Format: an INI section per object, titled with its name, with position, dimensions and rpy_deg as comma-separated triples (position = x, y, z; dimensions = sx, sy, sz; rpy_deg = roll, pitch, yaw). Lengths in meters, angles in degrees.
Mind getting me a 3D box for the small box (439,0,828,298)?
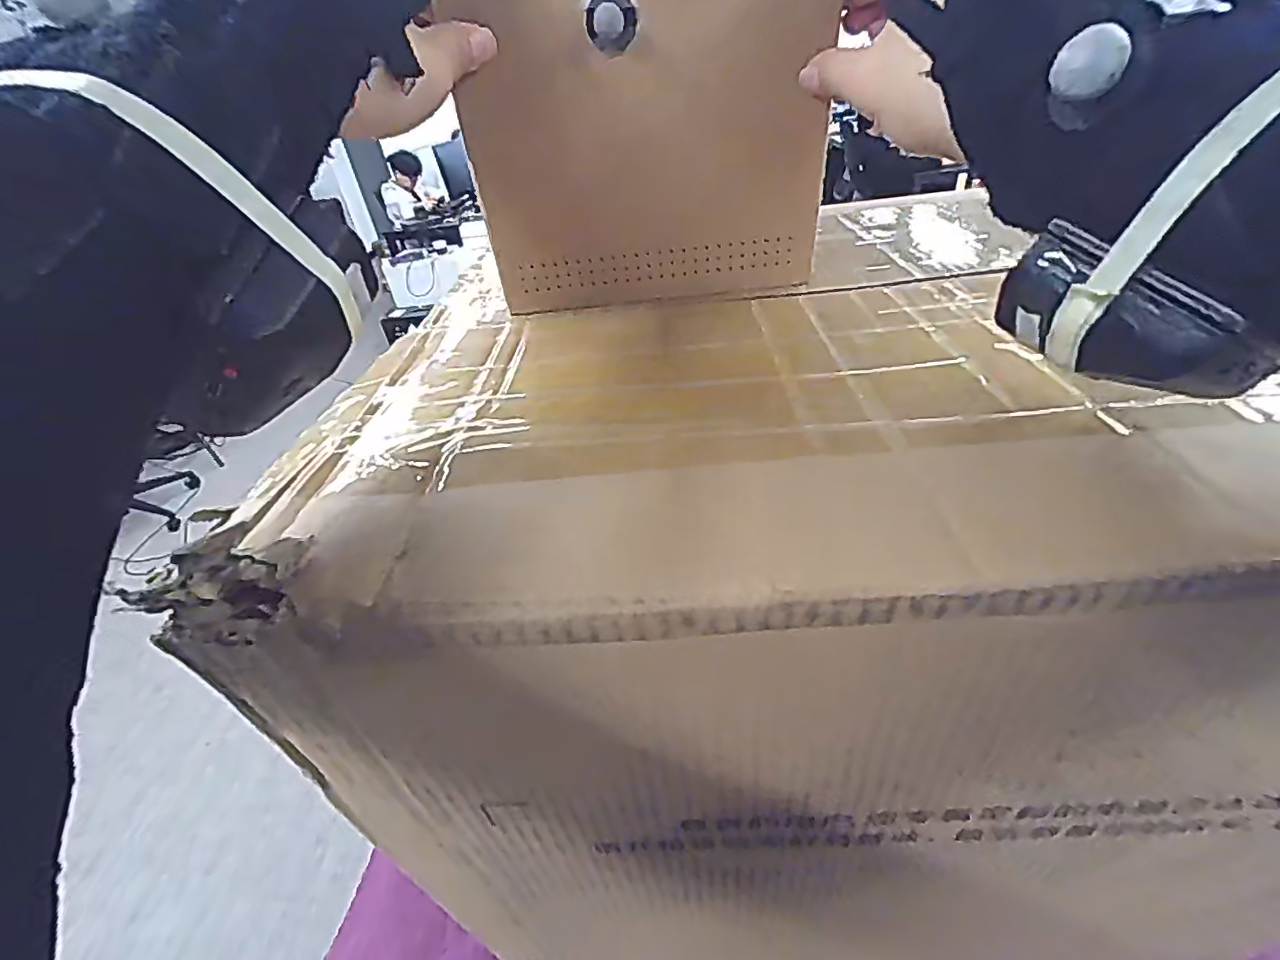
[small box]
position = 0.001, -0.217, 0.314
dimensions = 0.179, 0.176, 0.168
rpy_deg = -5, 41, 2
